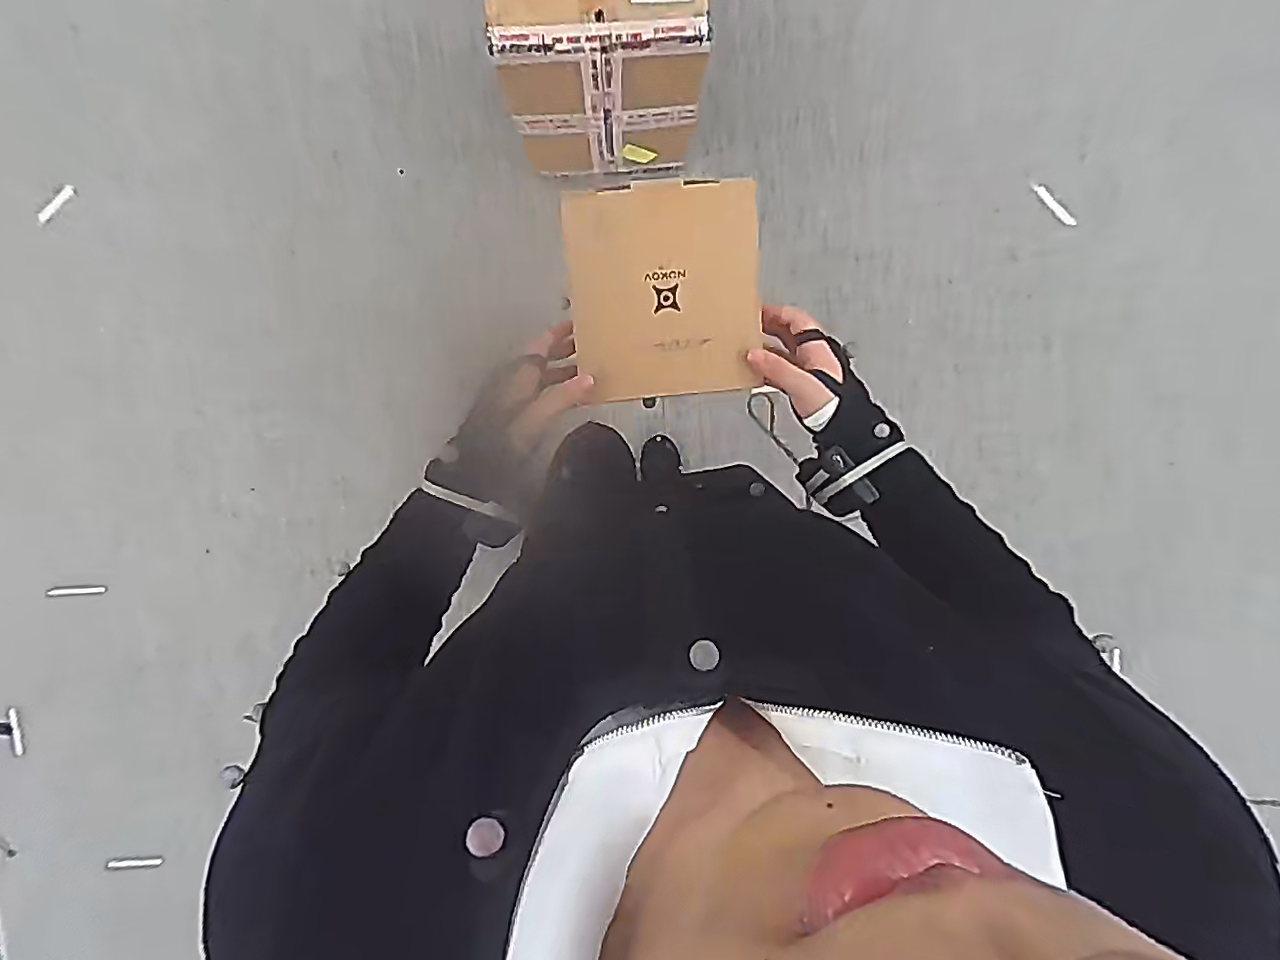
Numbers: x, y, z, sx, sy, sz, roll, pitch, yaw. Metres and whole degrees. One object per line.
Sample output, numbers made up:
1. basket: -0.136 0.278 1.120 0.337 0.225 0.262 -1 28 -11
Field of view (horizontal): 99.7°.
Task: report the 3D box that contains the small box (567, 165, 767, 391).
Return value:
1. small box: 0.021 -0.187 0.542 0.168 0.176 0.179 -6 103 -2
